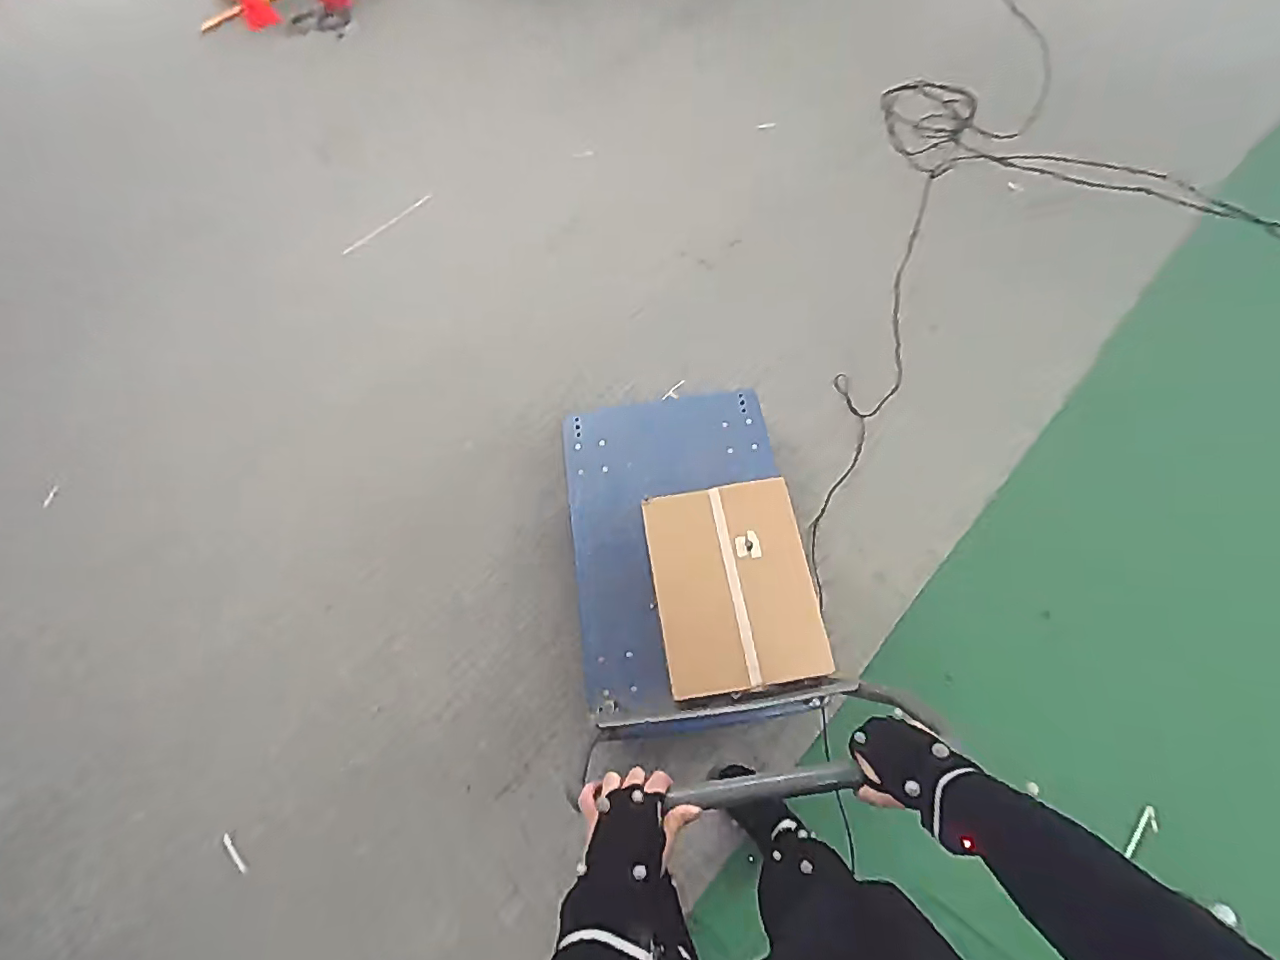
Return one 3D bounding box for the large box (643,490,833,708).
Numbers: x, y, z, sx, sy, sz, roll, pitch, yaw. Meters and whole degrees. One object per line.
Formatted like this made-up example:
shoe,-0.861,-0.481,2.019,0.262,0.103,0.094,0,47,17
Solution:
large box,0.198,0.283,1.240,0.320,0.320,0.408,-9,68,-1
